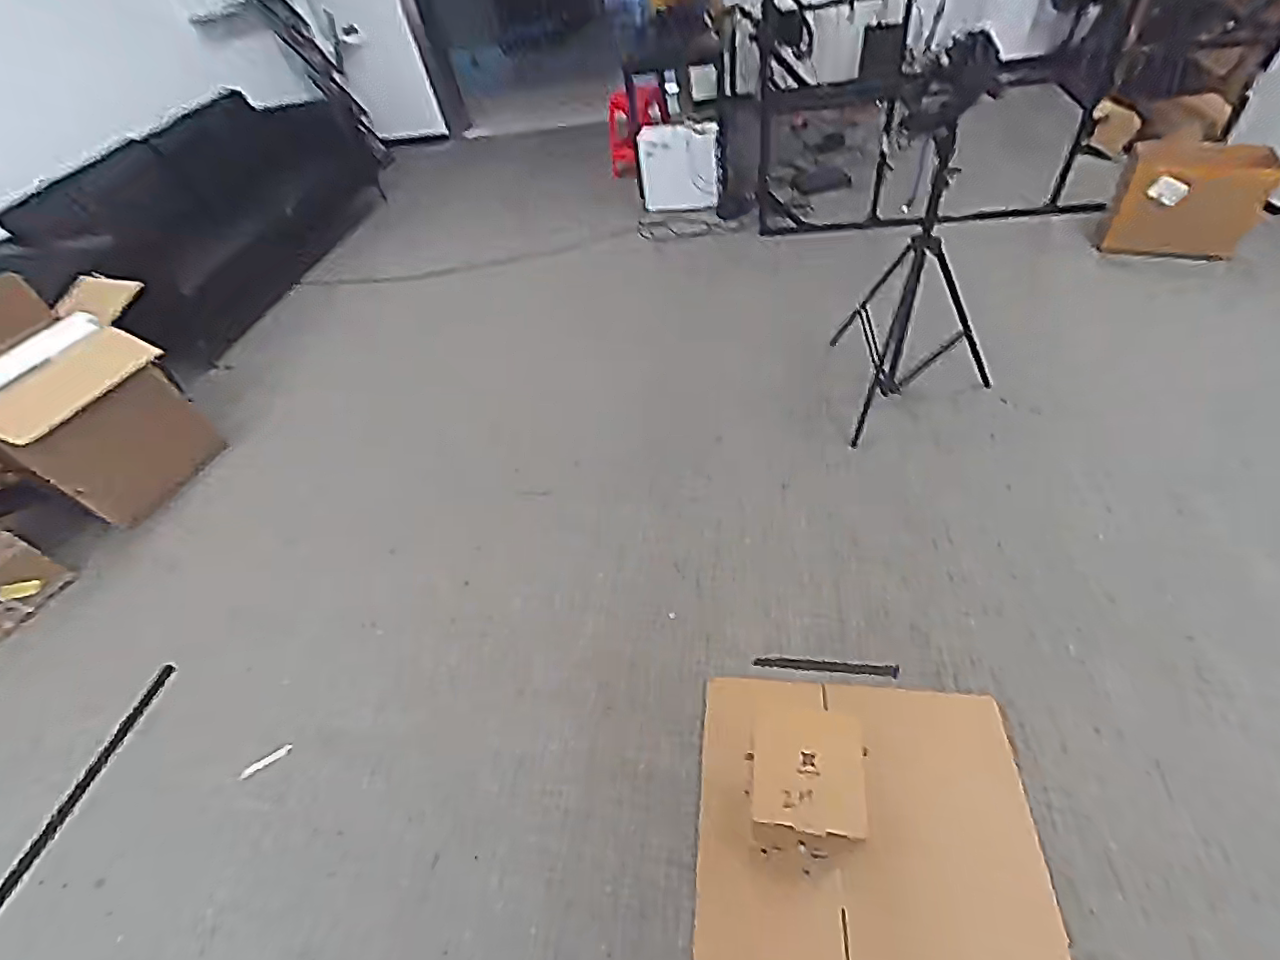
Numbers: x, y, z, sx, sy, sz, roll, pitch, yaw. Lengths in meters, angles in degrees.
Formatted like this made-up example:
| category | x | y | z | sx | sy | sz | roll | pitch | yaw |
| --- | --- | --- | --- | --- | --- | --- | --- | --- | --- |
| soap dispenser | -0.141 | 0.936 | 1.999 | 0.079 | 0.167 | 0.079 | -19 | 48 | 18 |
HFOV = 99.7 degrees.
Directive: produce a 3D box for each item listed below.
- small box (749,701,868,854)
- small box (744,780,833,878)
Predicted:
| category | x | y | z | sx | sy | sz | roll | pitch | yaw |
| --- | --- | --- | --- | --- | --- | --- | --- | --- | --- |
| small box | 0.268 | 0.492 | 0.894 | 0.168 | 0.176 | 0.179 | 2 | 50 | 12 |
| small box | 0.309 | 0.711 | 1.136 | 0.168 | 0.176 | 0.179 | 4 | 49 | 13 |
